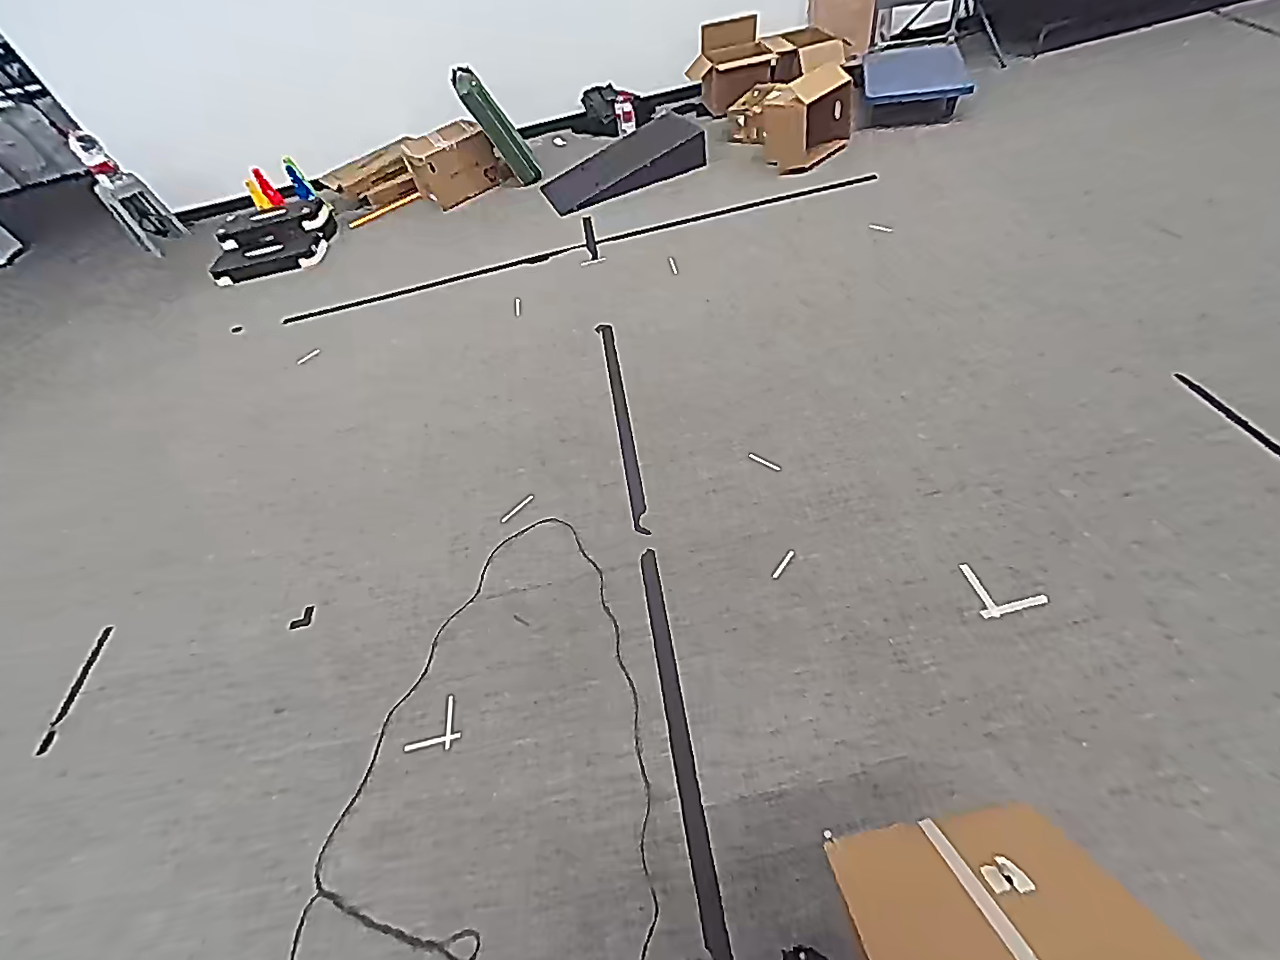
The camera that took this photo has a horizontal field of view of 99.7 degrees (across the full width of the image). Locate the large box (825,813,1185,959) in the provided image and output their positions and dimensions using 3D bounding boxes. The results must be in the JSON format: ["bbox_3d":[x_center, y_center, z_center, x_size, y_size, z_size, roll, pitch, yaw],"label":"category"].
[{"bbox_3d":[0.459,0.682,0.626,0.320,0.408,0.320,-13,88,3],"label":"large box"}]
